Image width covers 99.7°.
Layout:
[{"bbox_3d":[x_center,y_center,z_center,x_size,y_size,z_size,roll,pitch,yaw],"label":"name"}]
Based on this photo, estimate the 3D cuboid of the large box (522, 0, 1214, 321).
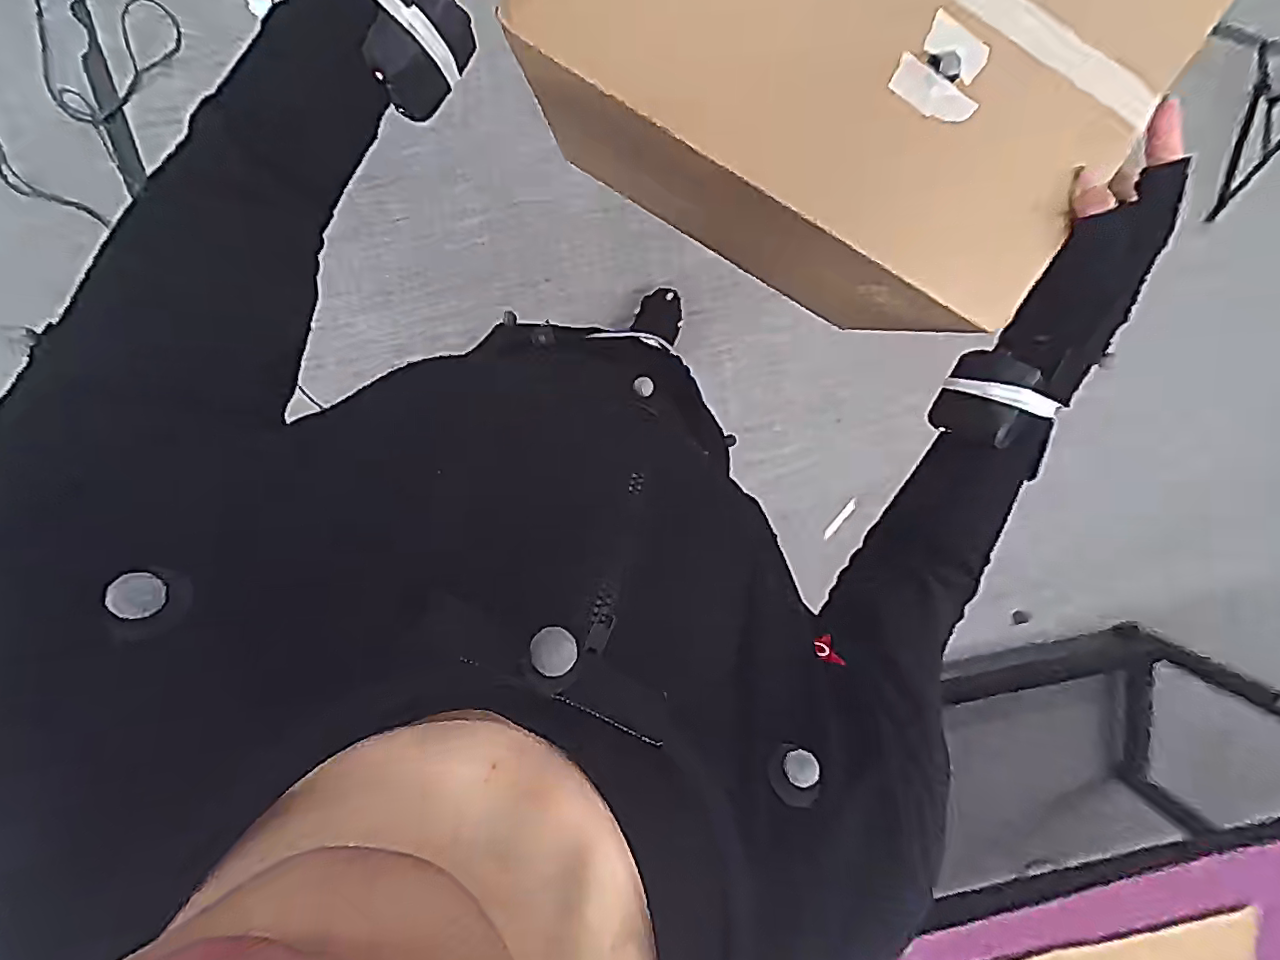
[{"bbox_3d":[0.162,-0.379,0.491,0.408,0.320,0.320,28,105,-8],"label":"large box"}]
